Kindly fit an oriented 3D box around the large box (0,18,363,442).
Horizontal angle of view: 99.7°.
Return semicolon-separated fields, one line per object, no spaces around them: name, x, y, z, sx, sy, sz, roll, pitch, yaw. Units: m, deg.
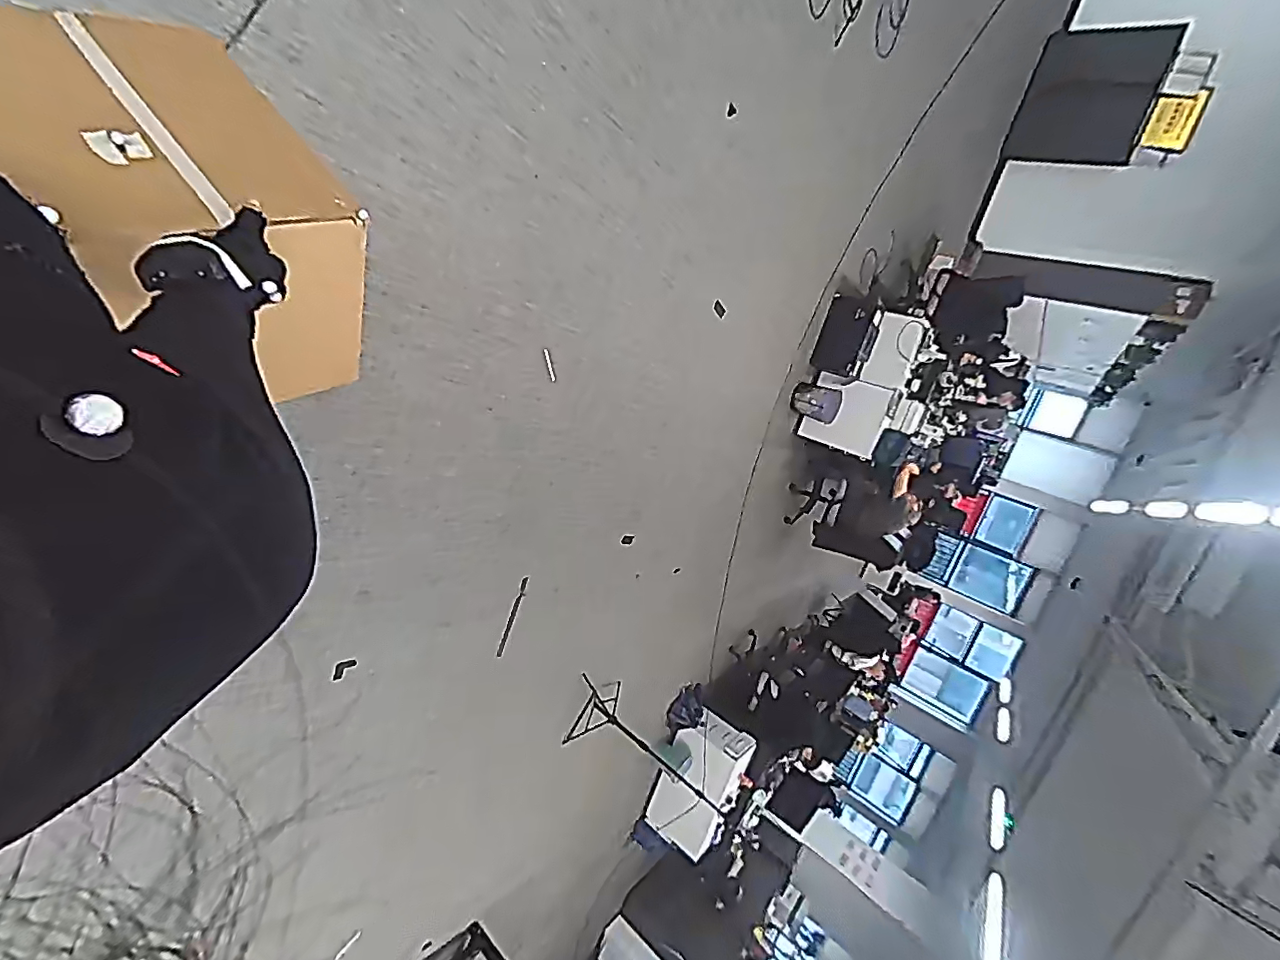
large box;-0.650;-0.331;0.746;0.320;0.408;0.320;-33;168;-41
